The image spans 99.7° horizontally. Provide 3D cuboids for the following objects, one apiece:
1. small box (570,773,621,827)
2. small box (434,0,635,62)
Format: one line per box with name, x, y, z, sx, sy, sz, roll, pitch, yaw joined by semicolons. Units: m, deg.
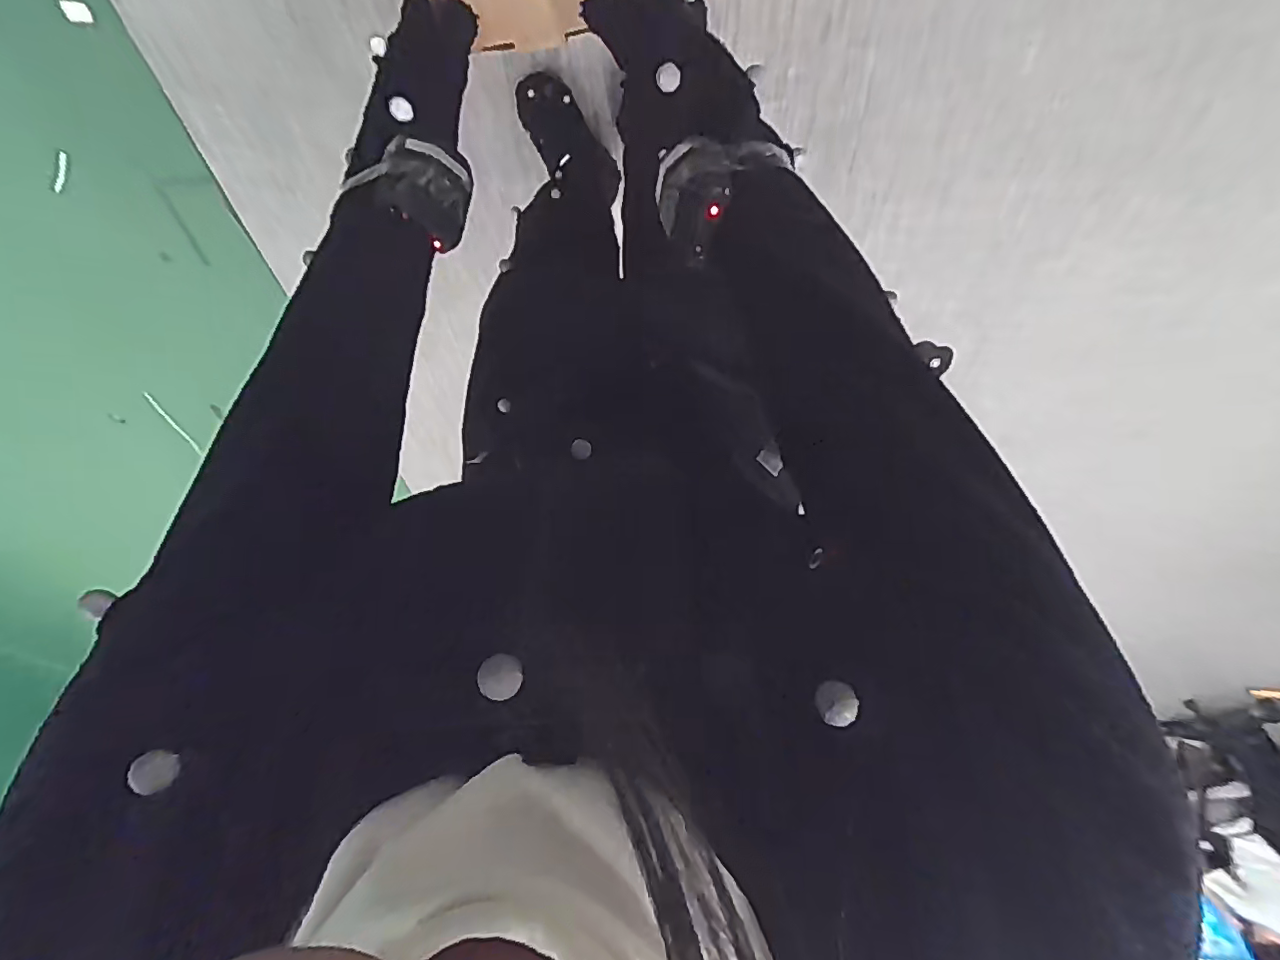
small box;-0.178;1.325;2.237;0.179;0.176;0.168;-3;141;7
small box;-0.091;-0.488;0.446;0.168;0.176;0.179;-4;141;9
